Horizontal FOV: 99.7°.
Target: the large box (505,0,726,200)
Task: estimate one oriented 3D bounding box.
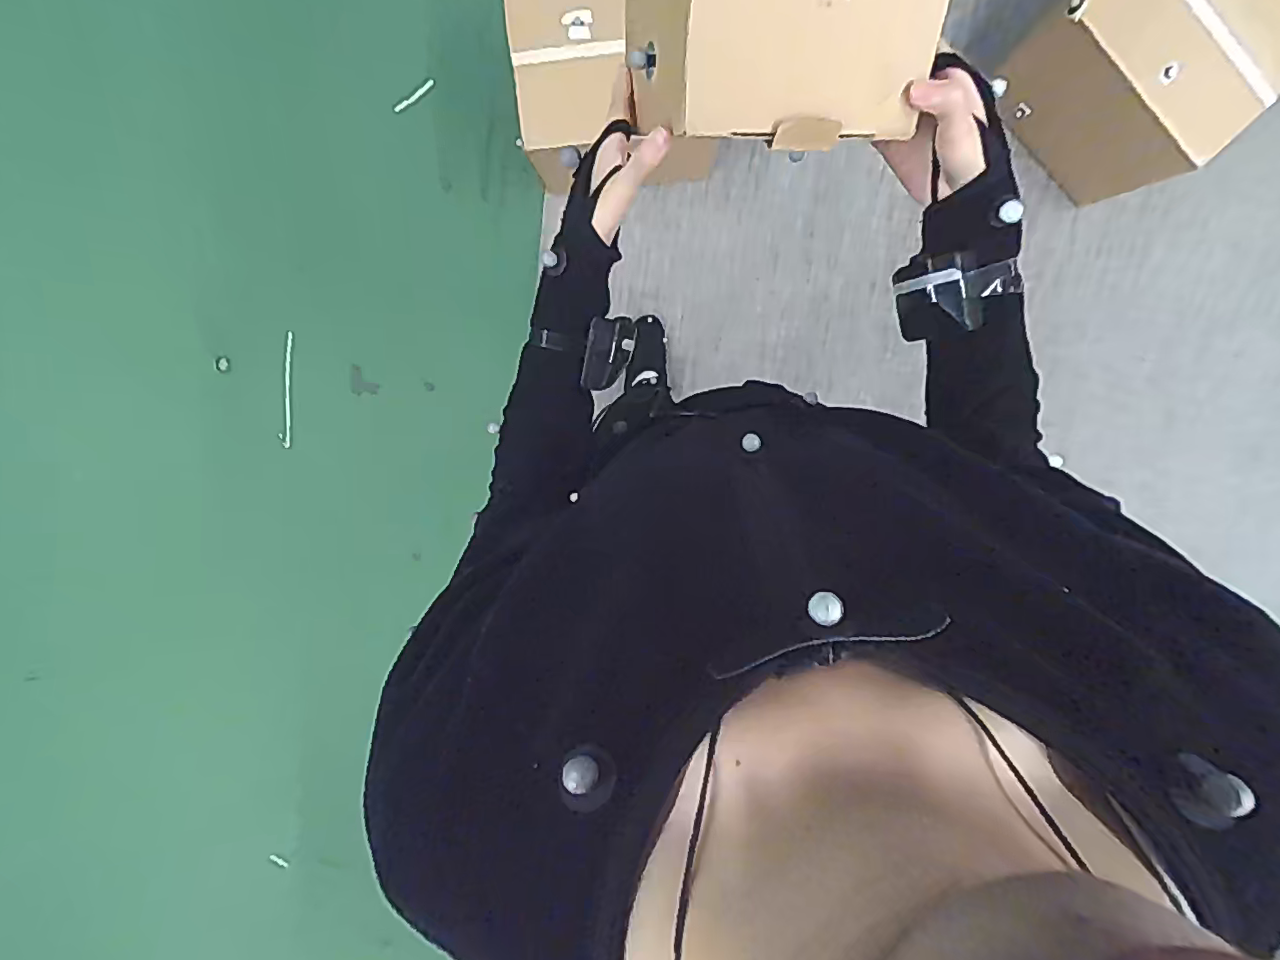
[{"bbox_3d":[-0.038,-0.839,1.182,0.408,0.320,0.320,-5,101,3],"label":"large box"}]

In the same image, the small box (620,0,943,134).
[{"bbox_3d":[0.084,-0.338,0.361,0.168,0.176,0.179,-6,123,-12],"label":"small box"}]
